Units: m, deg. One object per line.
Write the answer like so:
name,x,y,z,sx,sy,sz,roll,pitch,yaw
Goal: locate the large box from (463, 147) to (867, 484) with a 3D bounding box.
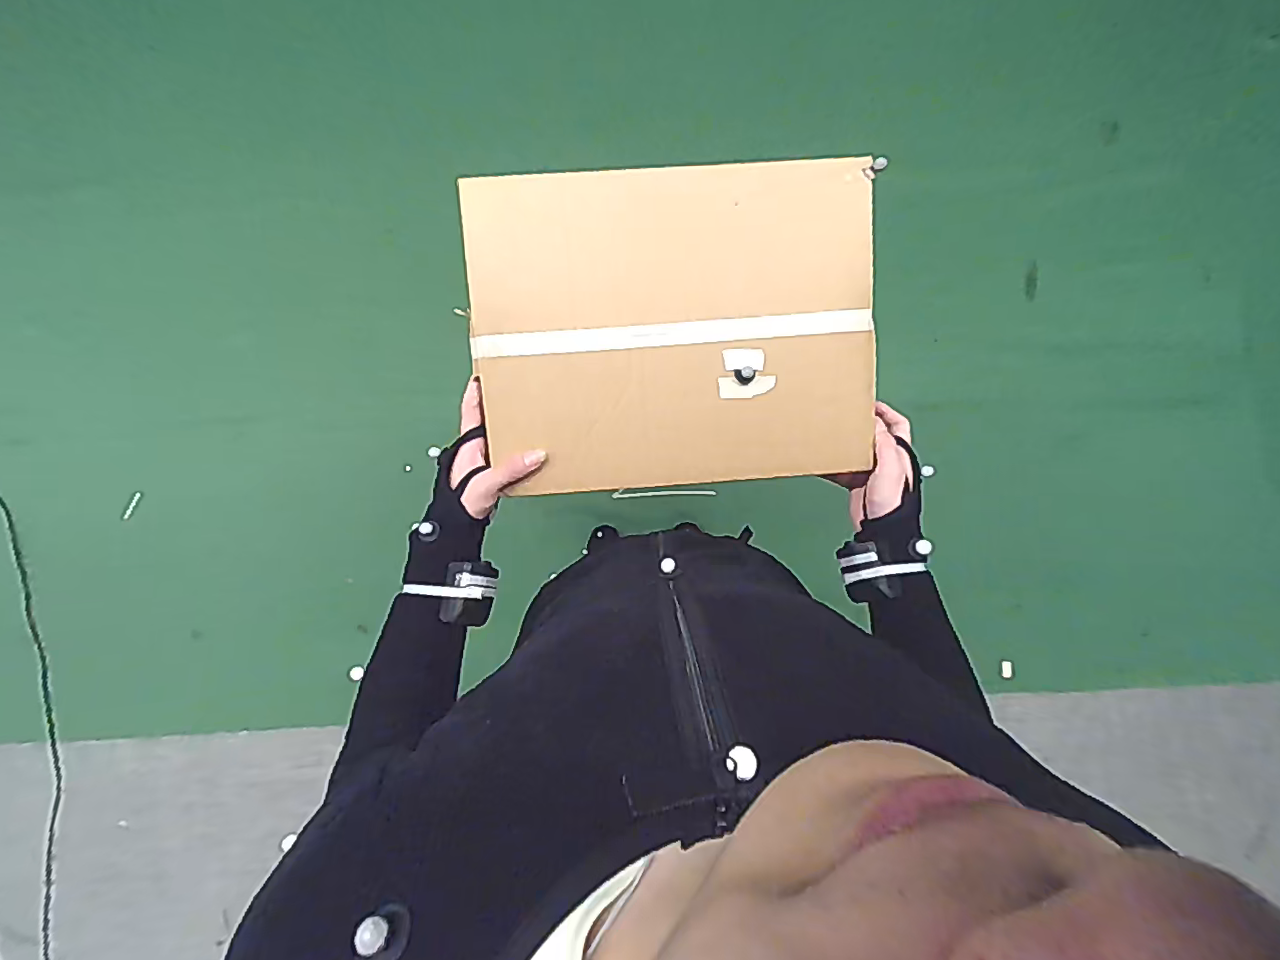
large box,0.027,-0.186,0.701,0.408,0.320,0.320,-5,100,-3
